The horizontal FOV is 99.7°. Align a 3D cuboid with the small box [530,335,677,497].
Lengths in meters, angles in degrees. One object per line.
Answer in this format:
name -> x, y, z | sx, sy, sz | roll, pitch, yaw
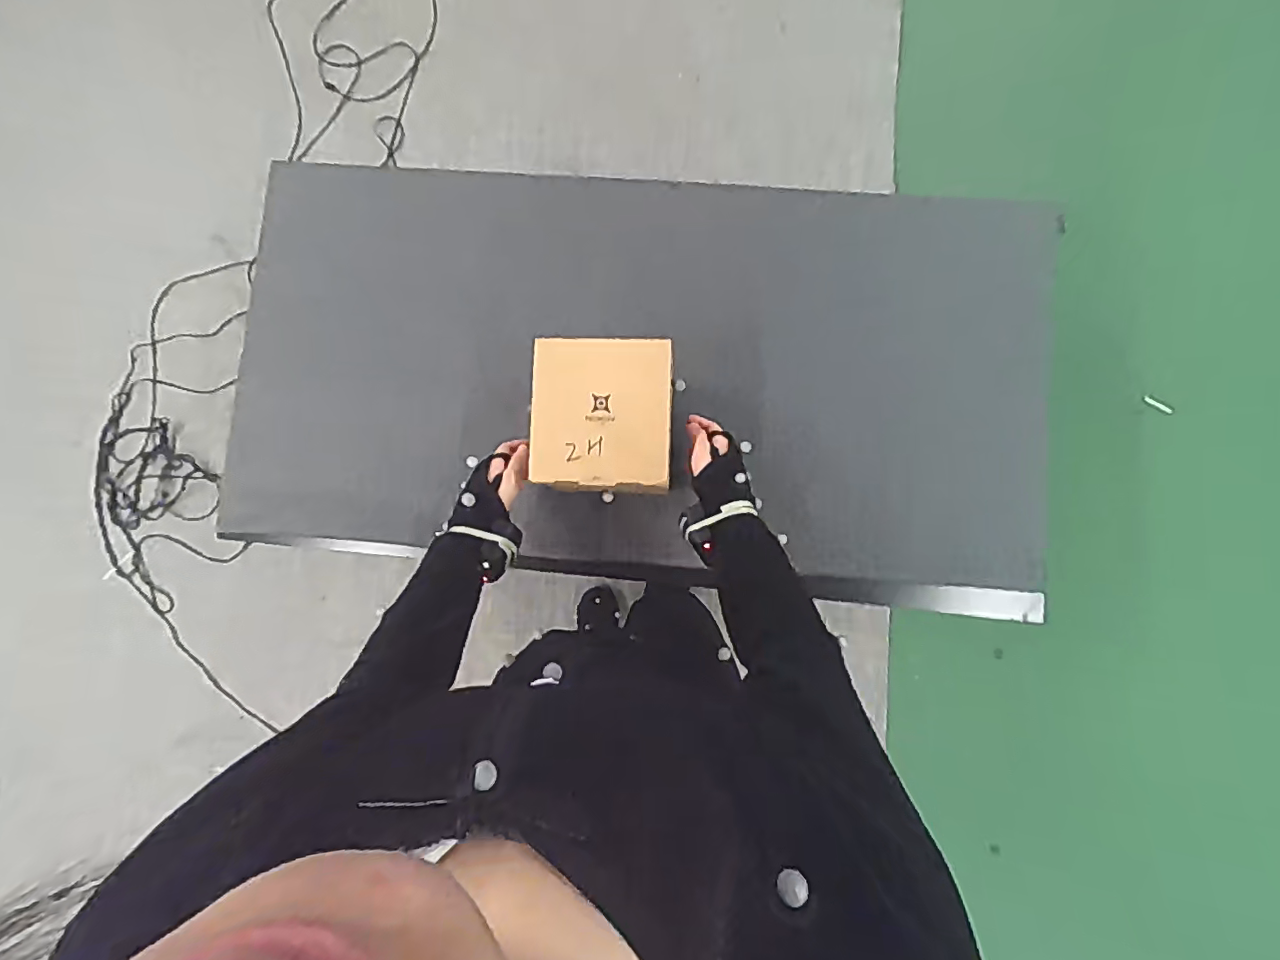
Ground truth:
small box -> -0.038, -0.073, 0.701 | 0.168, 0.176, 0.179 | 1, 85, 4
